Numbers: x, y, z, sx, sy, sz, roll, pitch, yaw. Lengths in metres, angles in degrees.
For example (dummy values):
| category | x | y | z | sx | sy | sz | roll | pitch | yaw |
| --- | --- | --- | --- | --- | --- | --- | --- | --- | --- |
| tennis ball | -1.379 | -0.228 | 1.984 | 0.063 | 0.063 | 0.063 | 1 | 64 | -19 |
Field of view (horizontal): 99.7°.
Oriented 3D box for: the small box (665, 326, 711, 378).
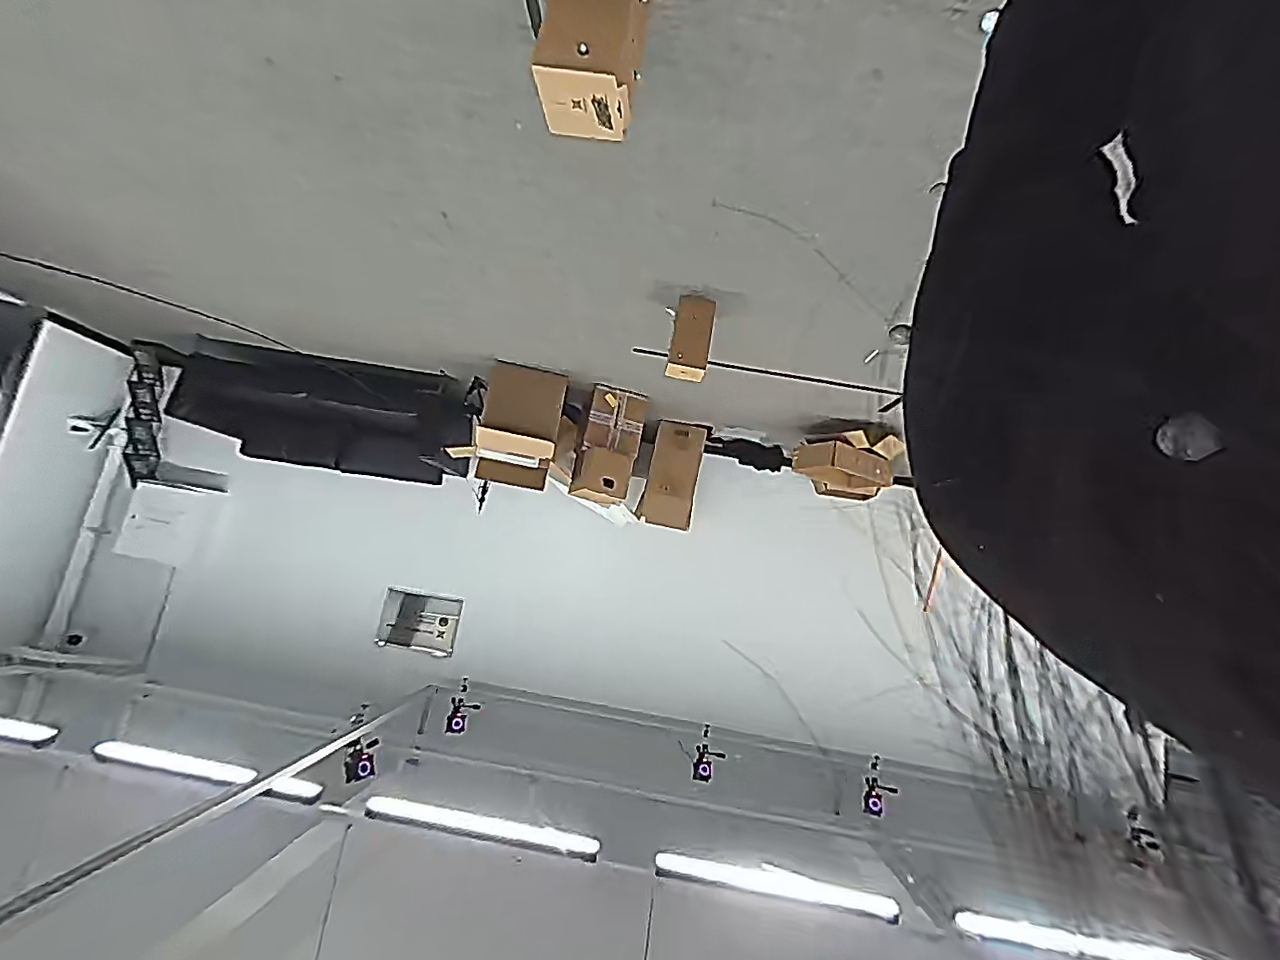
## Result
| category | x | y | z | sx | sy | sz | roll | pitch | yaw |
| --- | --- | --- | --- | --- | --- | --- | --- | --- | --- |
| small box | 0.220 | -0.591 | 2.490 | 0.179 | 0.176 | 0.168 | 10 | 172 | -2 |

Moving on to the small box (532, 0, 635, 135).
| category | x | y | z | sx | sy | sz | roll | pitch | yaw |
| --- | --- | --- | --- | --- | --- | --- | --- | --- | --- |
| small box | -0.108 | -0.870 | 1.136 | 0.179 | 0.176 | 0.168 | 10 | 171 | 6 |

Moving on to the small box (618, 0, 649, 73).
| category | x | y | z | sx | sy | sz | roll | pitch | yaw |
| --- | --- | --- | --- | --- | --- | --- | --- | --- | --- |
| small box | -0.079 | -1.029 | 1.168 | 0.179 | 0.176 | 0.168 | 10 | 170 | 7 |
